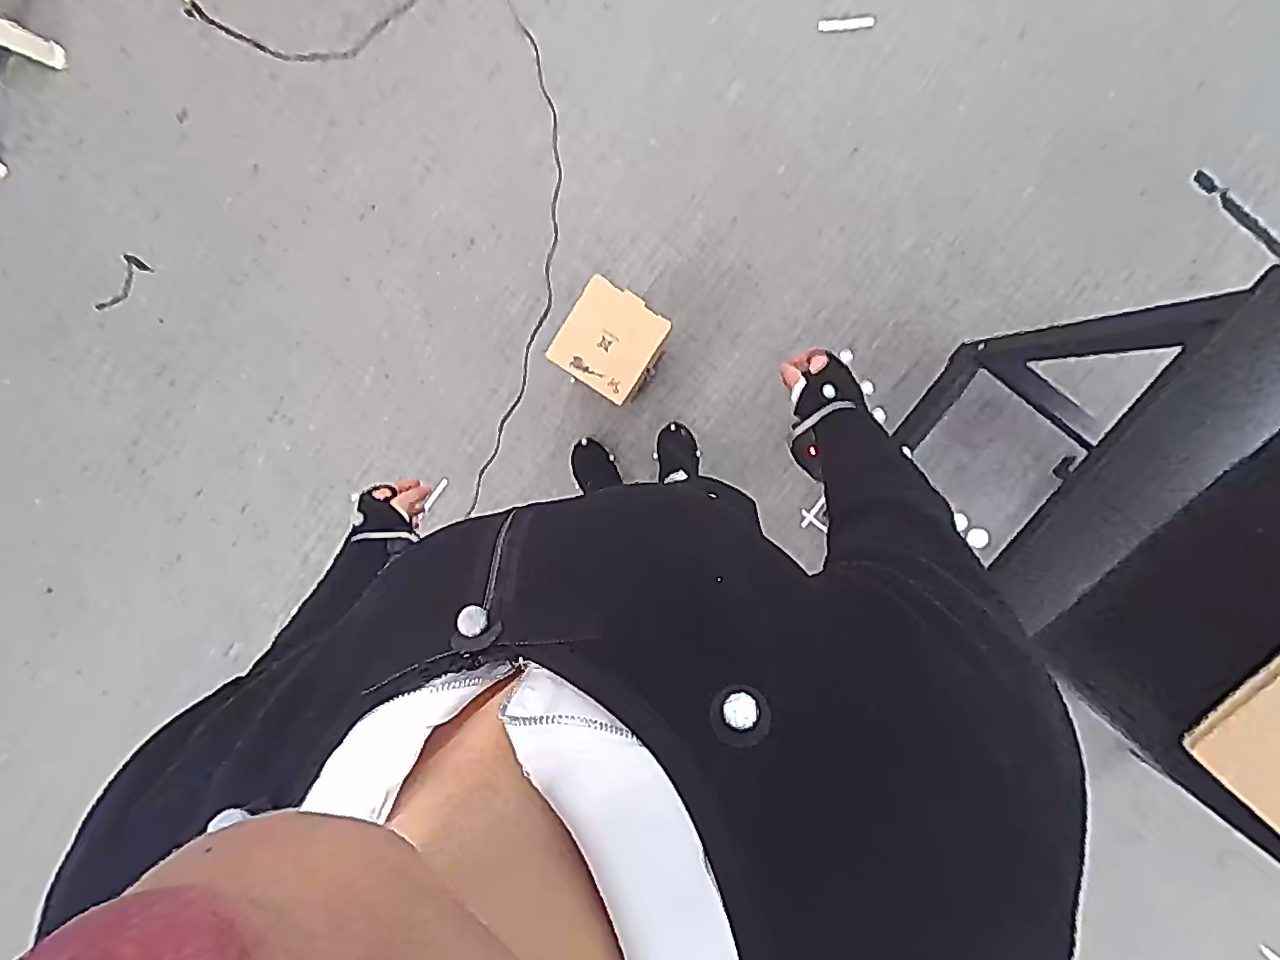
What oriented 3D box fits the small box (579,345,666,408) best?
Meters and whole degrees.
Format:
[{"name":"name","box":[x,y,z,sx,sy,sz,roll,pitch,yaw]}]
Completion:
[{"name":"small box","box":[-0.051,-0.300,1.374,0.168,0.176,0.179,33,98,-2]}]

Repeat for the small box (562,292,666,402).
[{"name":"small box","box":[-0.053,-0.287,1.213,0.168,0.176,0.179,30,95,-3]}]
